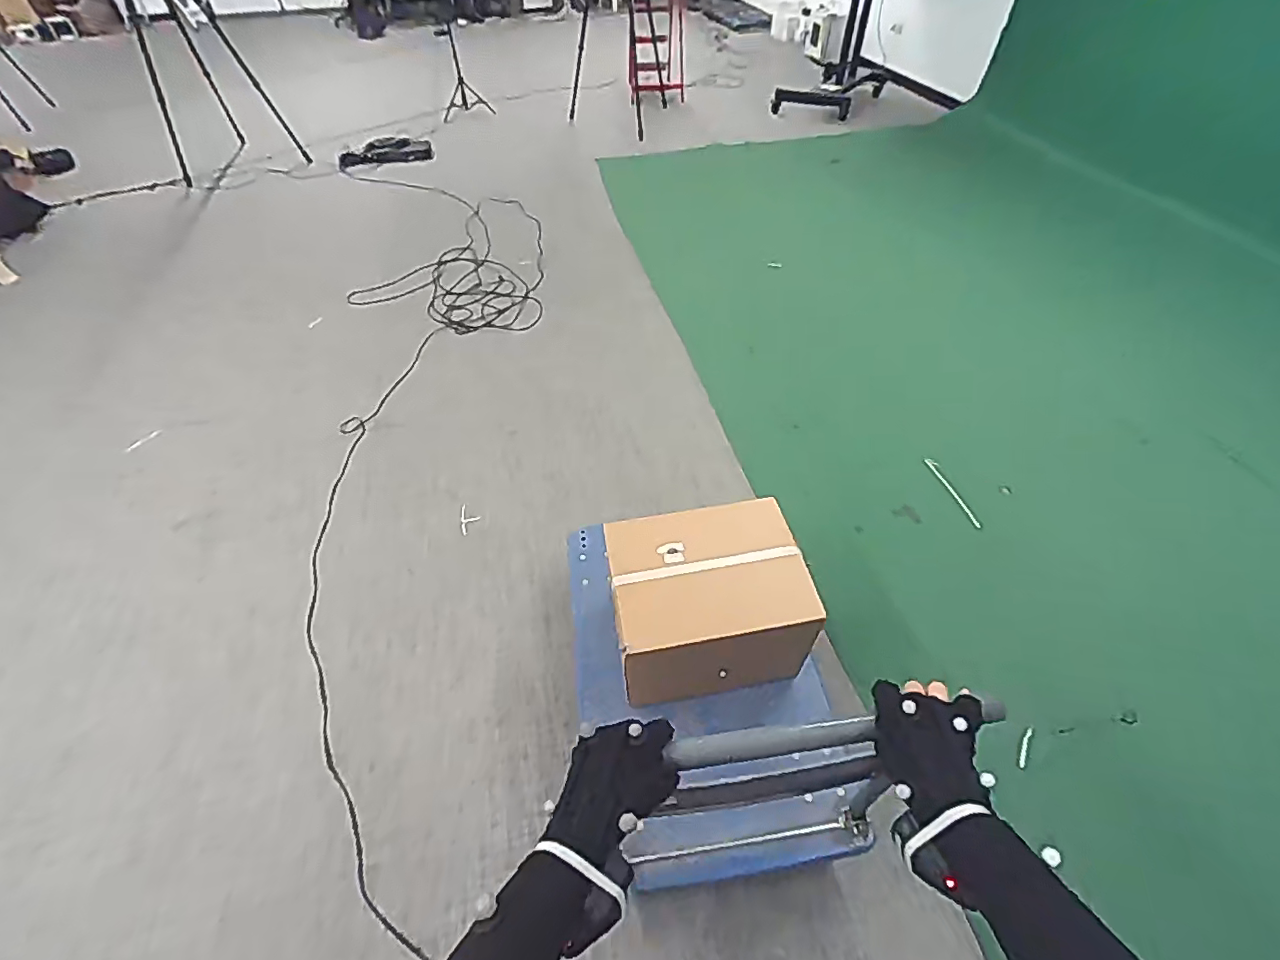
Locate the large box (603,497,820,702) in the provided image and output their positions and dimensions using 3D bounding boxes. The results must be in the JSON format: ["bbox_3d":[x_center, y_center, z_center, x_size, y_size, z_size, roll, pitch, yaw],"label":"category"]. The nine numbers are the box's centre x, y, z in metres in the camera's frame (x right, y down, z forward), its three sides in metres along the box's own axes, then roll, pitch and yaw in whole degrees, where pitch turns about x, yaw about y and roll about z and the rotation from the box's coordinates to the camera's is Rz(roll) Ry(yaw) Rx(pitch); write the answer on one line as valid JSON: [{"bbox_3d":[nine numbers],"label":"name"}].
[{"bbox_3d":[0.145,0.283,1.265,0.408,0.320,0.320,-10,50,-5],"label":"large box"}]
